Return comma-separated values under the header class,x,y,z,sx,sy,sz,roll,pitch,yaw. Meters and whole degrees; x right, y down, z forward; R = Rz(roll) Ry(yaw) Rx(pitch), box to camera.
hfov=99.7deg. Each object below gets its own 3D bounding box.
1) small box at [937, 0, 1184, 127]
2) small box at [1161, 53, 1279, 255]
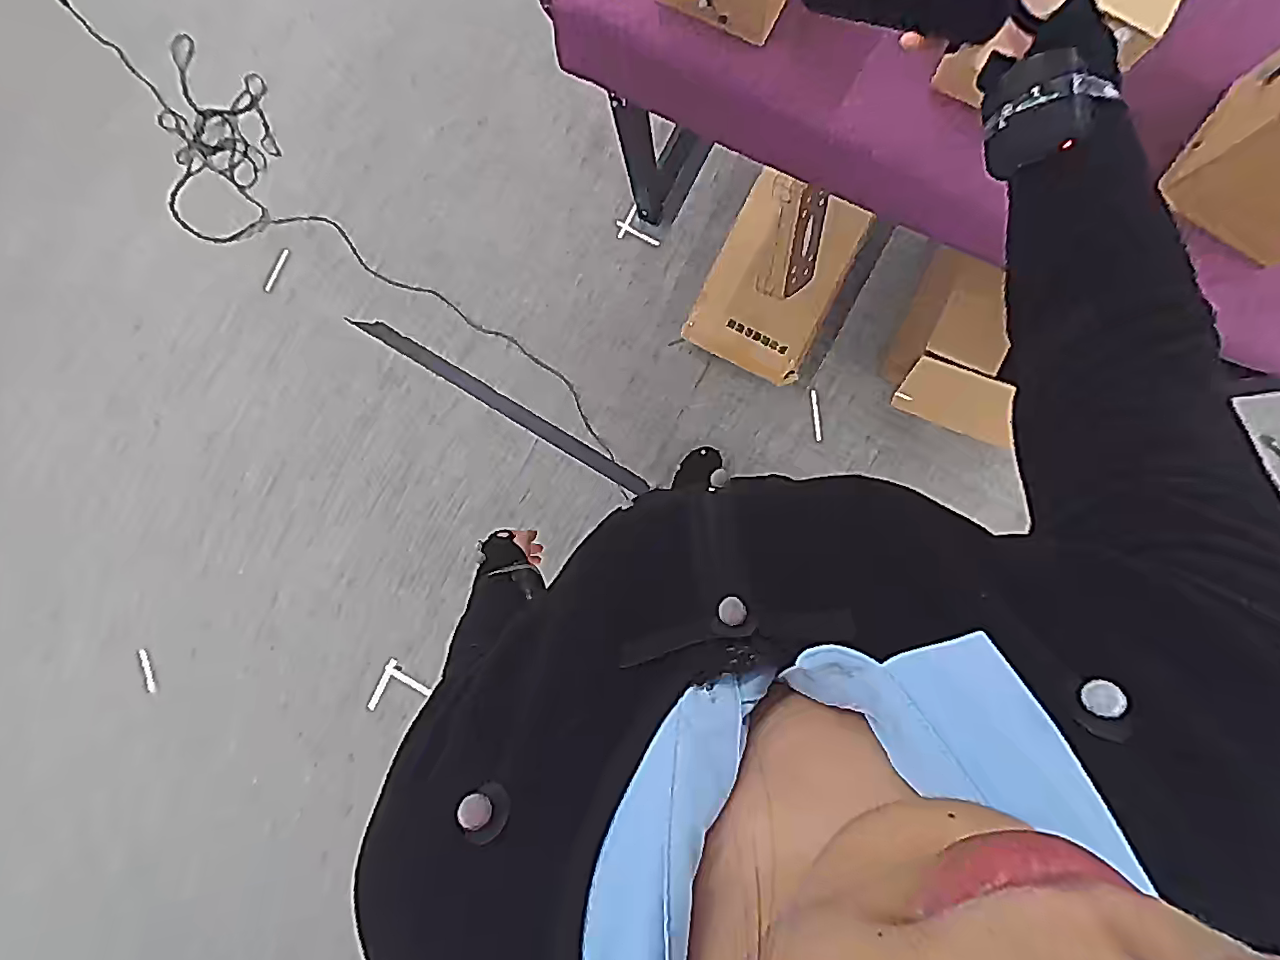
class,x,y,z,sx,sy,sz,roll,pitch,yaw
small box,0.489,-0.552,0.620,0.179,0.176,0.168,28,92,5
small box,0.758,-0.383,0.597,0.179,0.176,0.168,35,95,4
